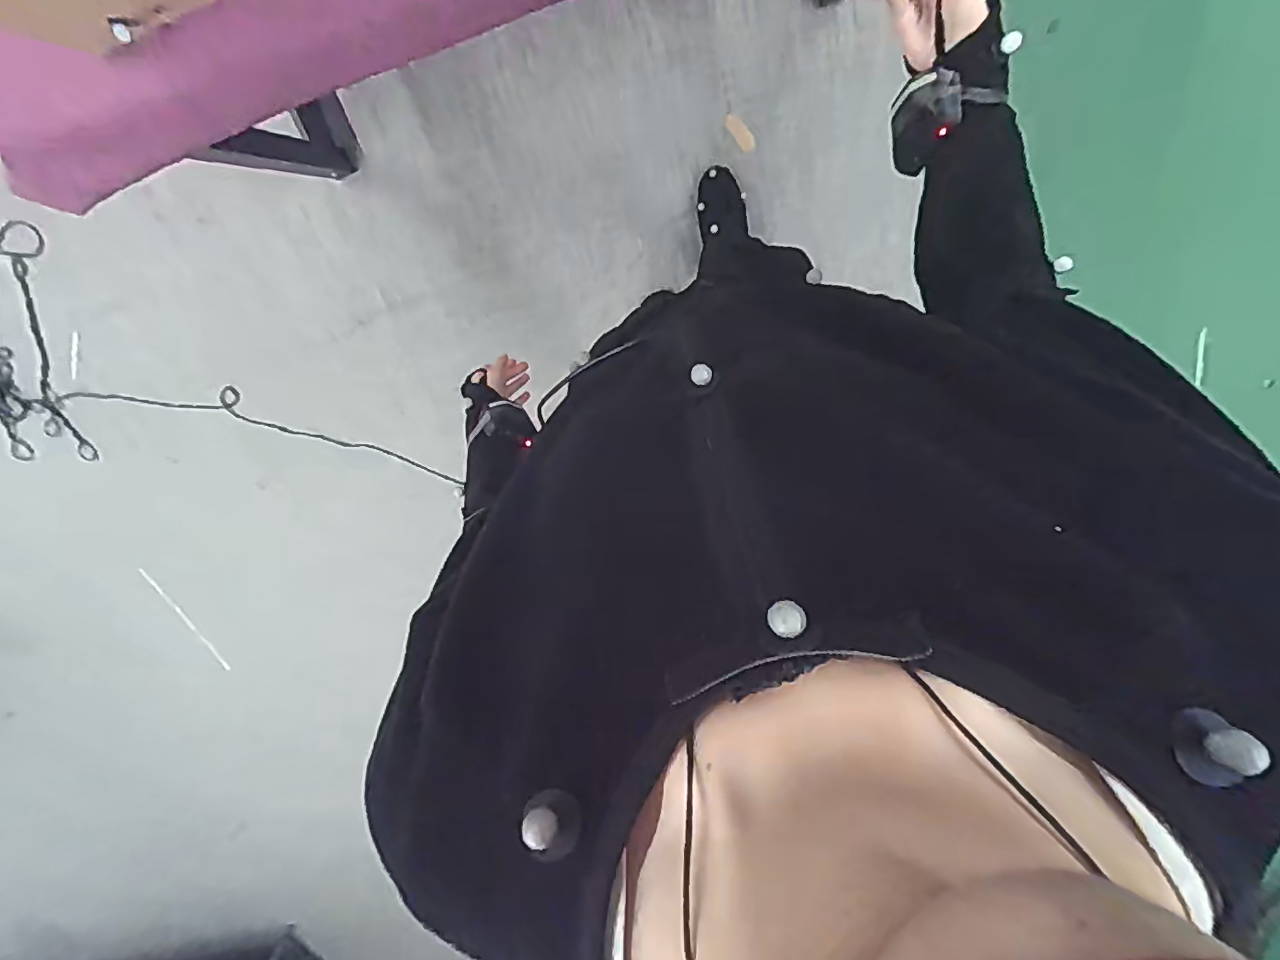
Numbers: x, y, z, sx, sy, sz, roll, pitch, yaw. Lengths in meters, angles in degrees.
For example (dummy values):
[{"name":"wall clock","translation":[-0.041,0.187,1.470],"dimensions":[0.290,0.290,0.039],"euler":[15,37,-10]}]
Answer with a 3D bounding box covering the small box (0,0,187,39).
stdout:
[{"name":"small box","translation":[-0.536,-0.526,0.456],"dimensions":[0.168,0.176,0.179],"euler":[-16,115,9]}]
